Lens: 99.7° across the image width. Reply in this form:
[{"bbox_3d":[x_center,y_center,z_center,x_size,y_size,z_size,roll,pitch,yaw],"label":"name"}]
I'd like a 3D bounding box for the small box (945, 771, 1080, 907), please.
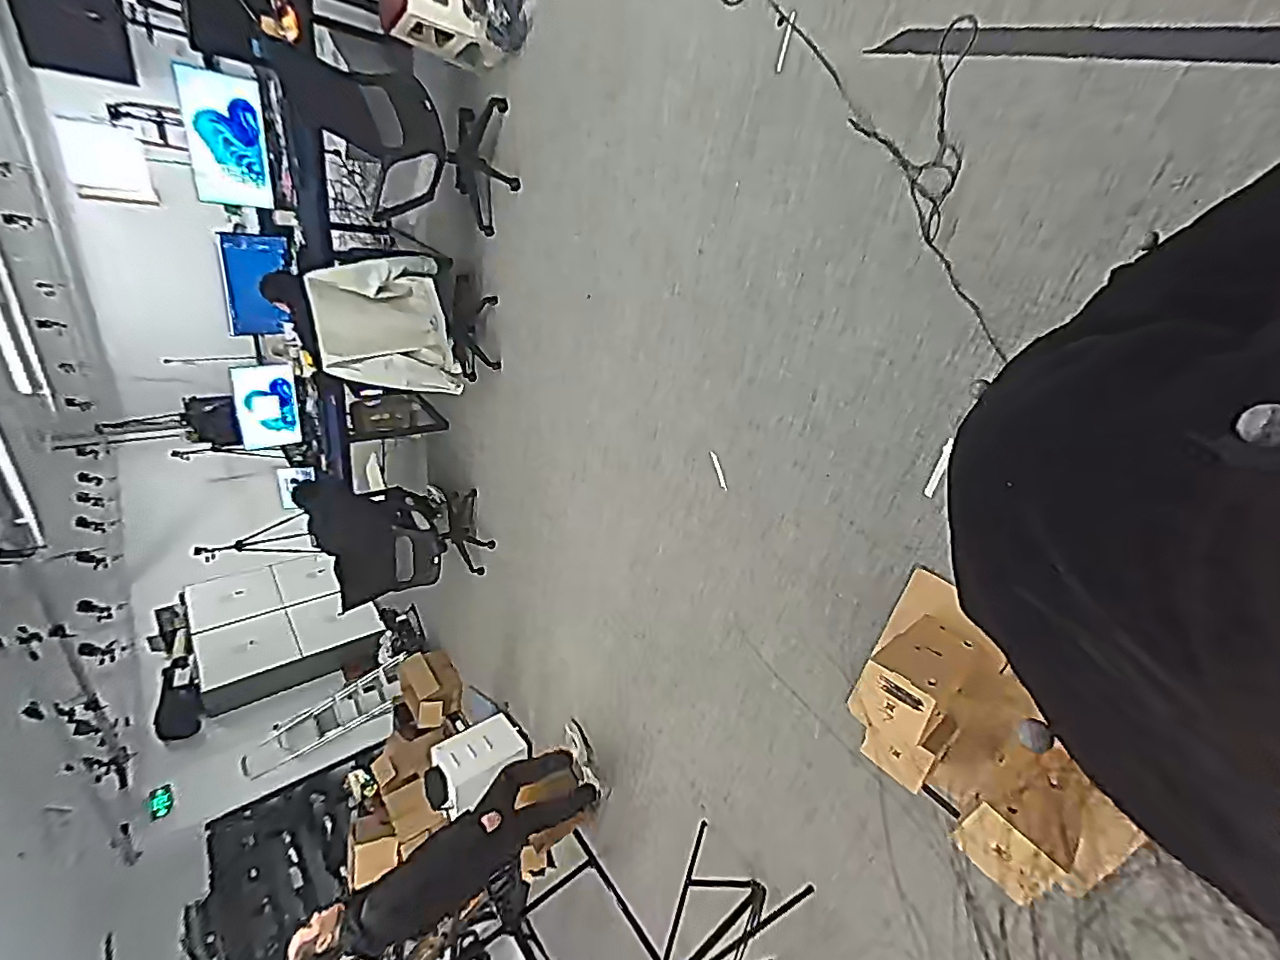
[{"bbox_3d":[0.847,0.801,1.230,0.179,0.176,0.168,39,129,34],"label":"small box"}]

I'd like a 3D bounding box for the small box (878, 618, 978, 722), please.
[{"bbox_3d":[0.788,0.507,1.472,0.168,0.176,0.179,32,124,41],"label":"small box"}]

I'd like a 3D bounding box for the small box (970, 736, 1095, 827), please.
[{"bbox_3d":[0.969,0.767,1.335,0.179,0.176,0.168,38,128,35],"label":"small box"}]

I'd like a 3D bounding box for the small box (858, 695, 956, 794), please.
[{"bbox_3d":[0.773,0.750,1.569,0.179,0.176,0.168,31,124,40],"label":"small box"}]
